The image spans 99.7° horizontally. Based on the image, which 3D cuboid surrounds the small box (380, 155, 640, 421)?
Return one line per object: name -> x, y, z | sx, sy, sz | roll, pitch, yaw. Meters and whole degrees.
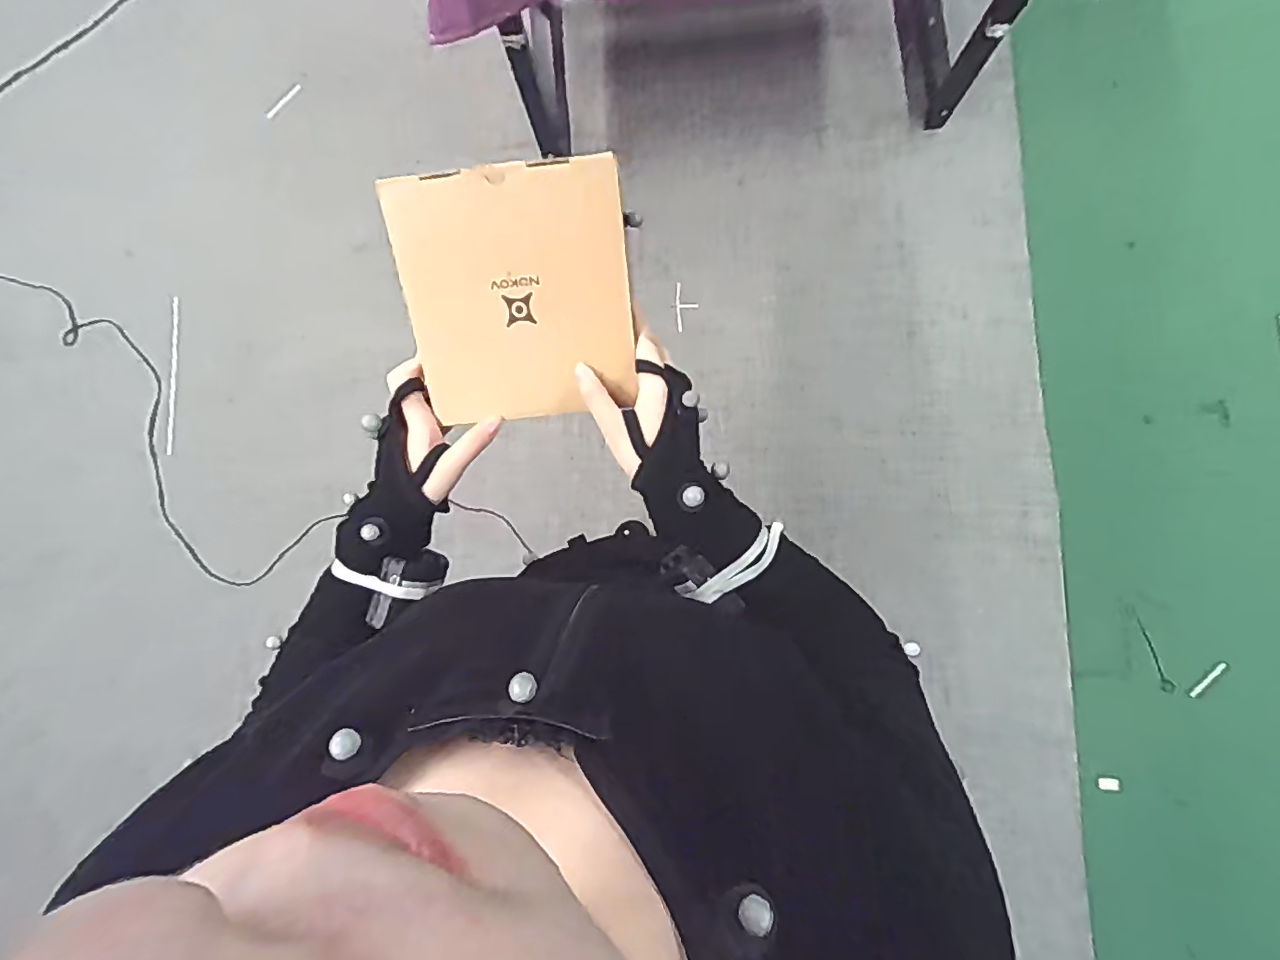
small box -> -0.089, -0.165, 0.473 | 0.168, 0.176, 0.179 | -6, 113, 2
